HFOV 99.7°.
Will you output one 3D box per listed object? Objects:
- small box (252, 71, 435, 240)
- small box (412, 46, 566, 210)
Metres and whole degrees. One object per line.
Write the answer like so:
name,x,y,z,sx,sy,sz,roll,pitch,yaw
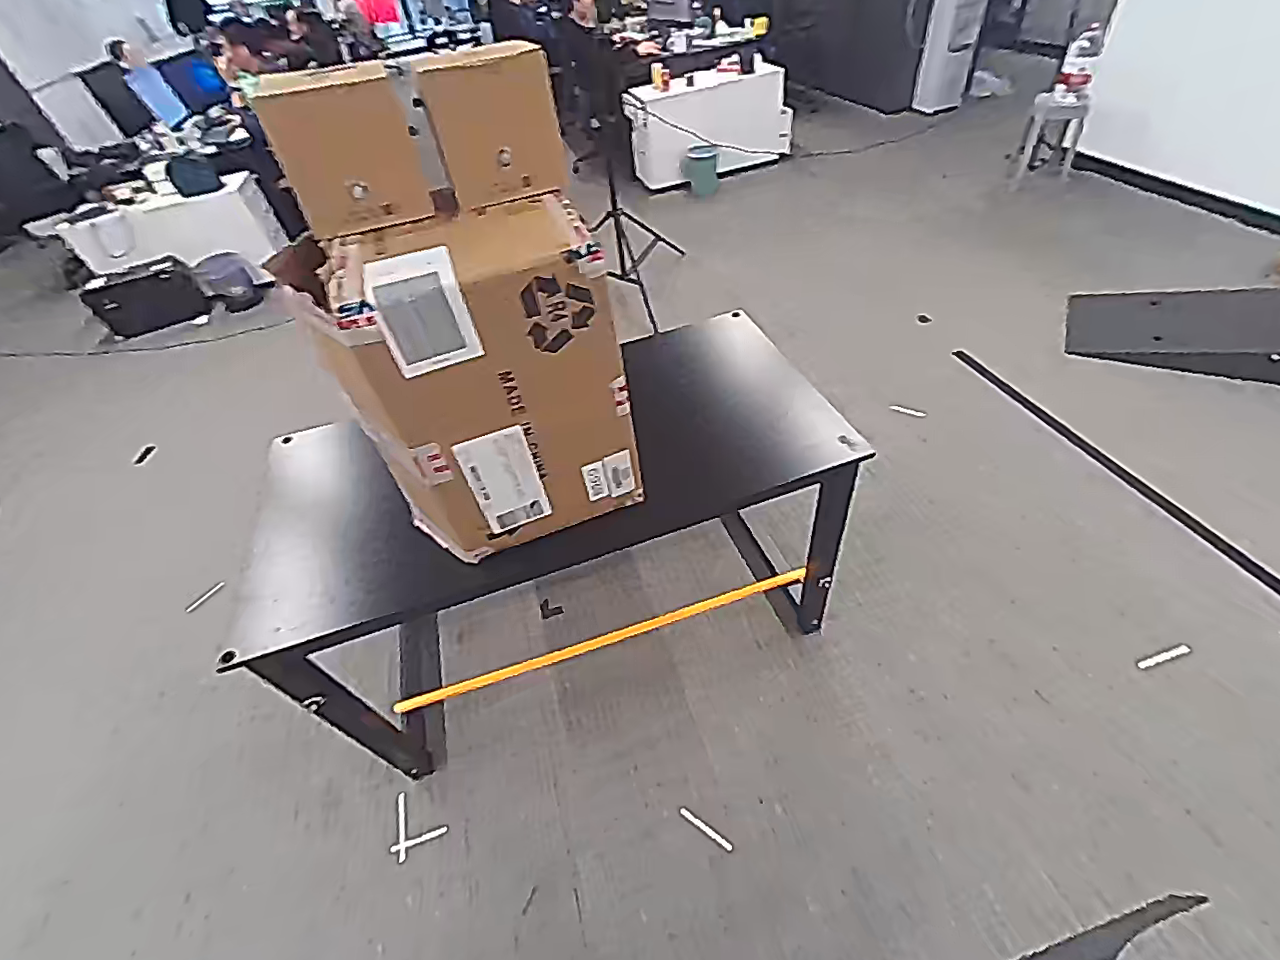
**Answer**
small box,-0.407,-0.461,0.768,0.168,0.176,0.179,-20,45,-13
small box,-0.222,-0.523,0.804,0.168,0.176,0.179,-20,45,-10
